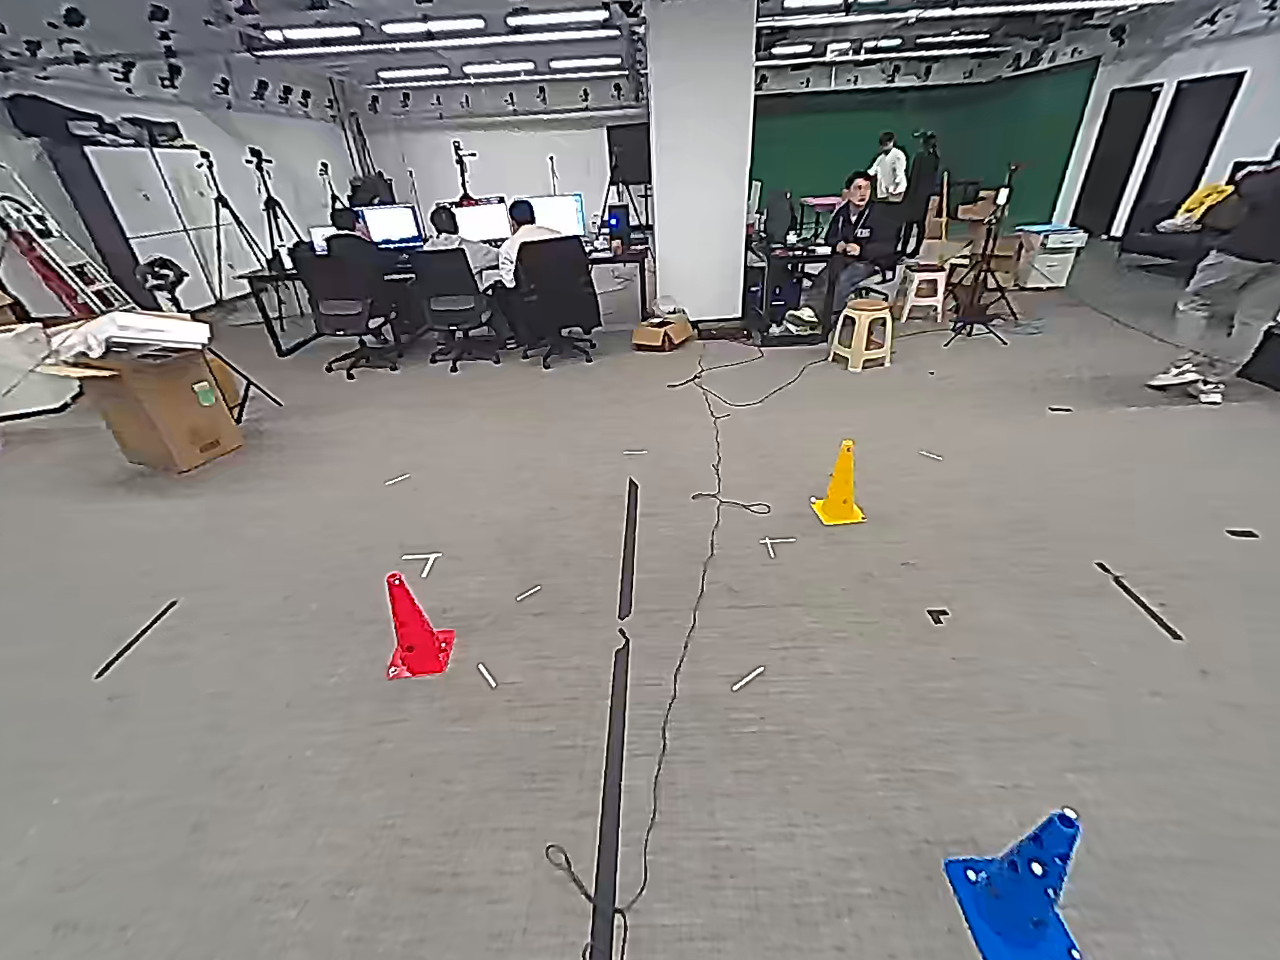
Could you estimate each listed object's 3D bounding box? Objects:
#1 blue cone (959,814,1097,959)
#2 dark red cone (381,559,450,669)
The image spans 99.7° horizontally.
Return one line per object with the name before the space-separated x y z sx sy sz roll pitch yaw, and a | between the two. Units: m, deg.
blue cone | 0.802 0.782 1.073 0.192 0.380 0.193 -1 31 2
dark red cone | -0.772 0.427 1.777 0.201 0.394 0.202 -5 30 -5
